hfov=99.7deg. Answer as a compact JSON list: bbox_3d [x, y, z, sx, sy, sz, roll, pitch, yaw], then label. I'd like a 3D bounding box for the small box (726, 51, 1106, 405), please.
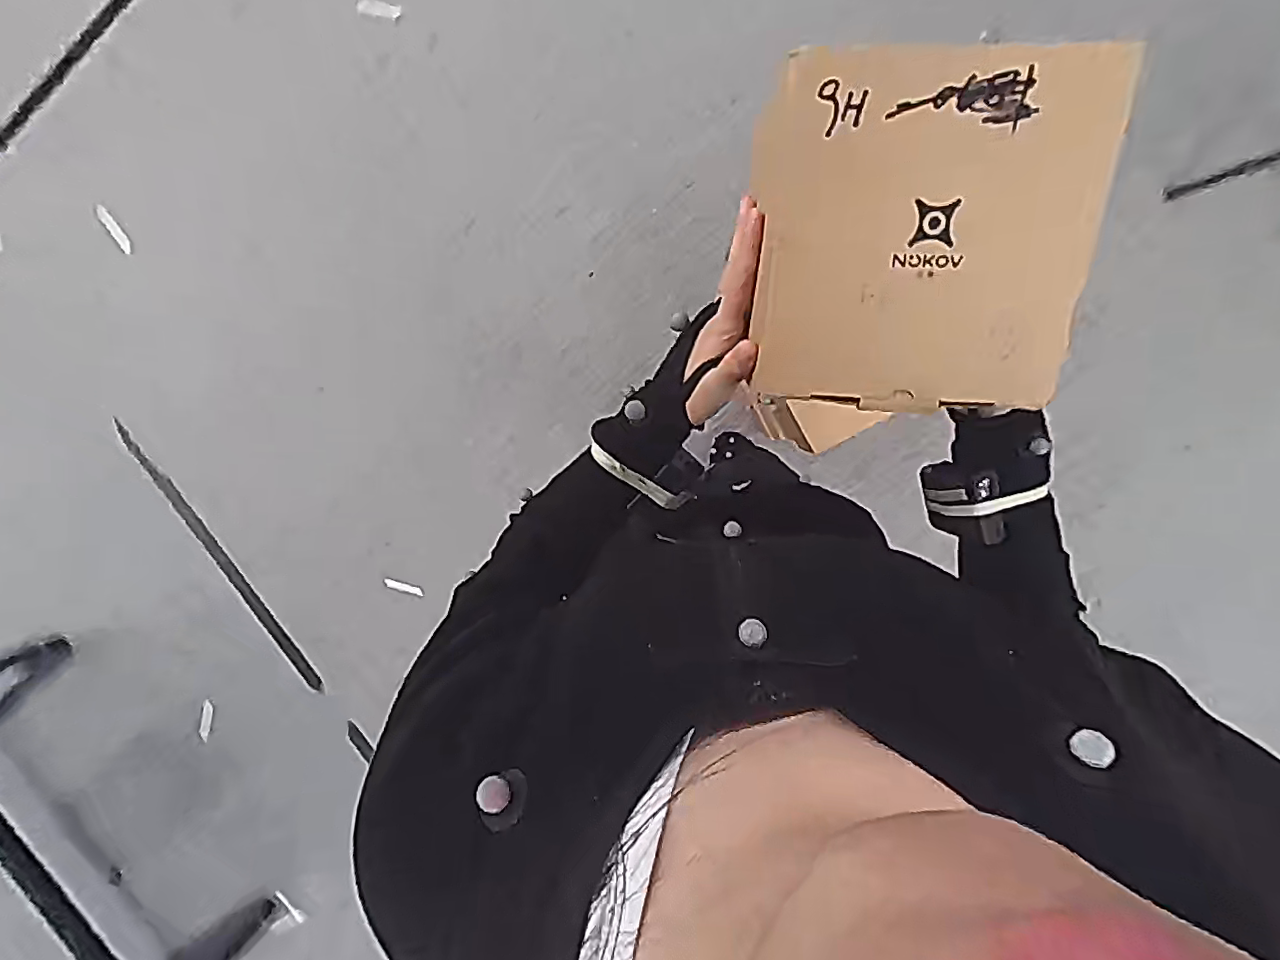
[{"bbox_3d":[0.150,-0.155,0.370,0.168,0.176,0.179,1,109,3],"label":"small box"}]

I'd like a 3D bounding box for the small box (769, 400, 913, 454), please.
[{"bbox_3d":[0.307,-0.159,0.884,0.179,0.176,0.168,-28,92,10],"label":"small box"}]

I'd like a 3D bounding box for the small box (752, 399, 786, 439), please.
[{"bbox_3d":[0.338,-0.204,1.206,0.168,0.176,0.179,-25,93,10],"label":"small box"}]

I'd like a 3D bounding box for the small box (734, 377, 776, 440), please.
[{"bbox_3d":[0.350,-0.218,1.370,0.168,0.176,0.179,-29,93,9],"label":"small box"}]
